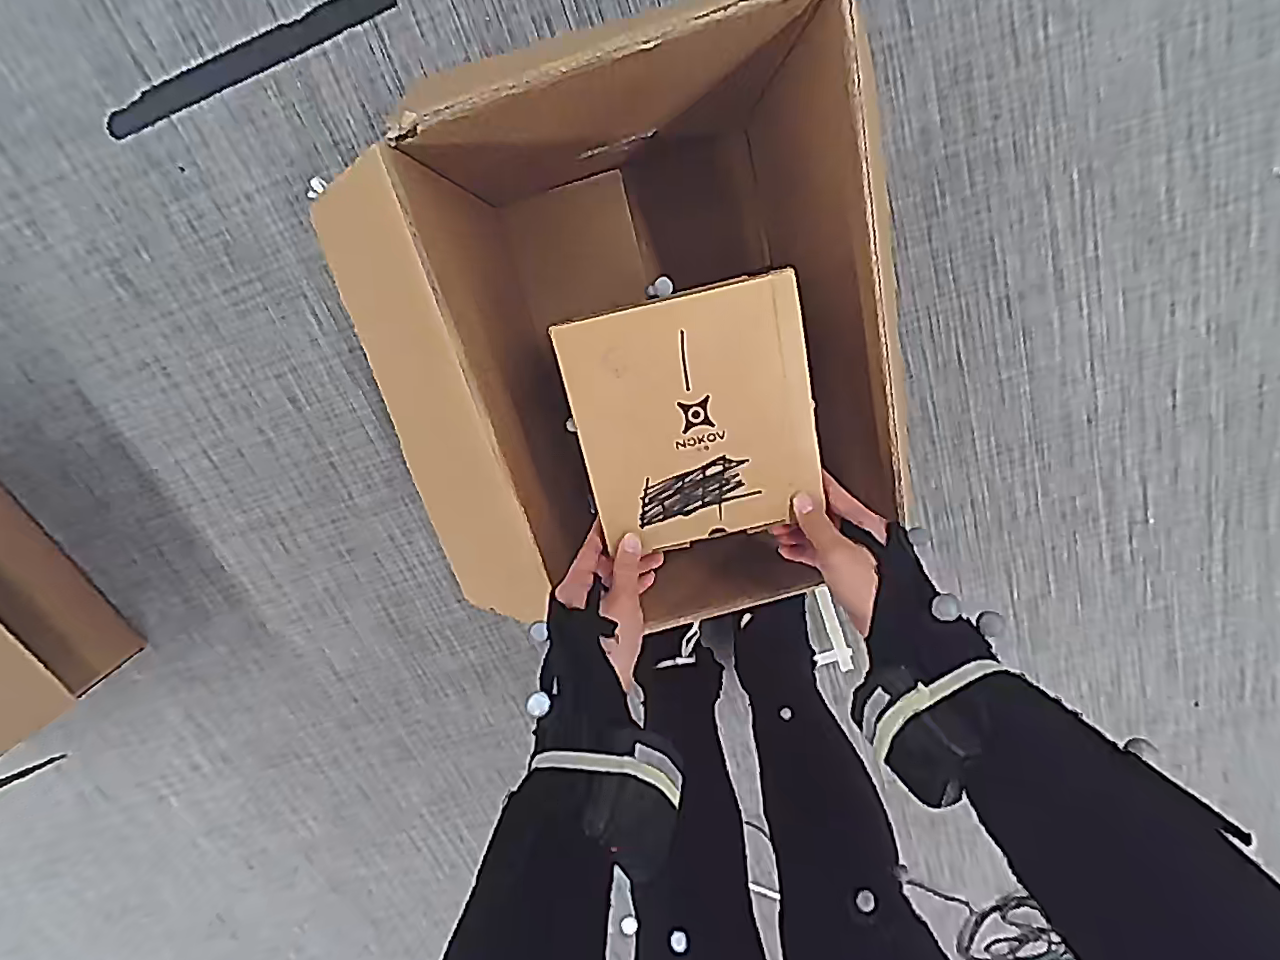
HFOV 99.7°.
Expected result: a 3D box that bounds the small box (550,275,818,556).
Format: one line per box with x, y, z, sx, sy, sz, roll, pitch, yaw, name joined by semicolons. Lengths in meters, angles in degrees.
0.034;-0.062;0.457;0.168;0.176;0.179;-13;107;1;small box
